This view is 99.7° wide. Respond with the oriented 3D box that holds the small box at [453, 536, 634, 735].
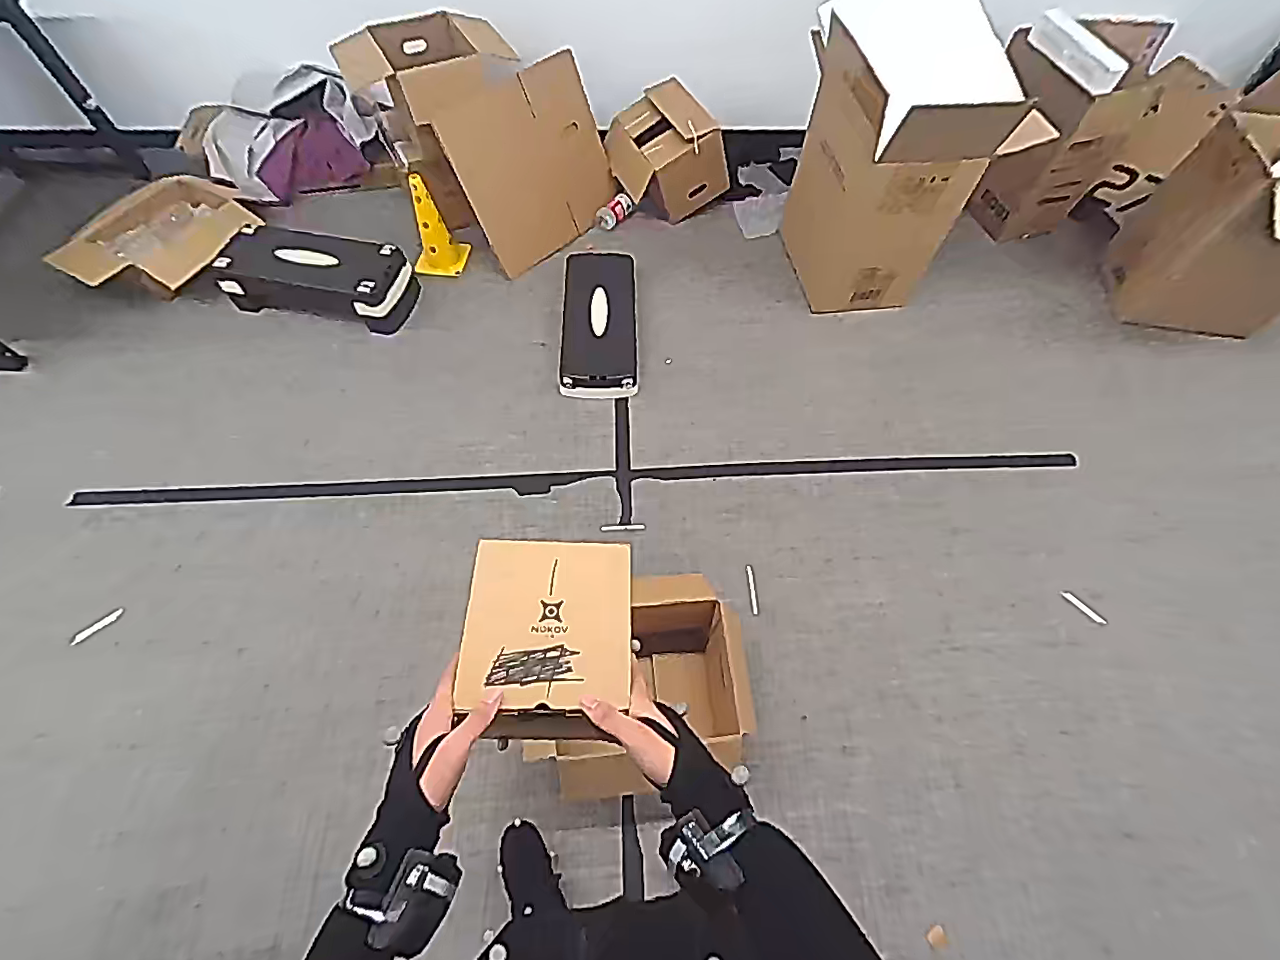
[{"bbox_3d":[-0.093,0.178,0.599,0.168,0.176,0.179,2,56,-5],"label":"small box"}]
